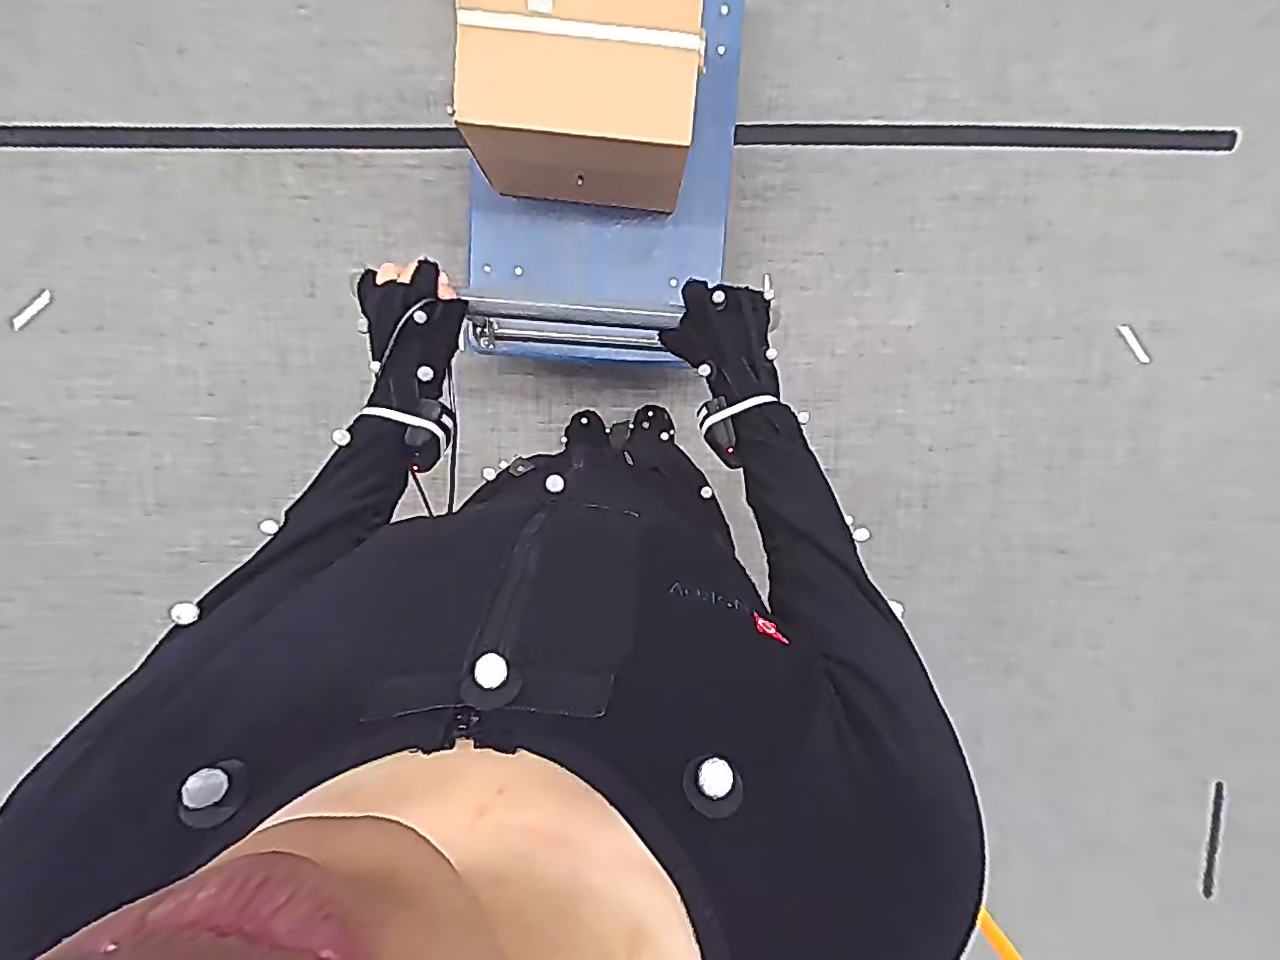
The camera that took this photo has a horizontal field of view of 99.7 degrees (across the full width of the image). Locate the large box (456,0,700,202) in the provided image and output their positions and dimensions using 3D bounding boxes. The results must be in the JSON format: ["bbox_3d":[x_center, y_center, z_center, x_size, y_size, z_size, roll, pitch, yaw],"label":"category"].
[{"bbox_3d":[-0.104,-0.762,1.044,0.408,0.320,0.320,5,97,-2],"label":"large box"}]

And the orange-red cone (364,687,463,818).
[{"bbox_3d":[-0.602,0.707,1.366,0.198,0.360,0.199,8,96,-4],"label":"orange-red cone"}]
